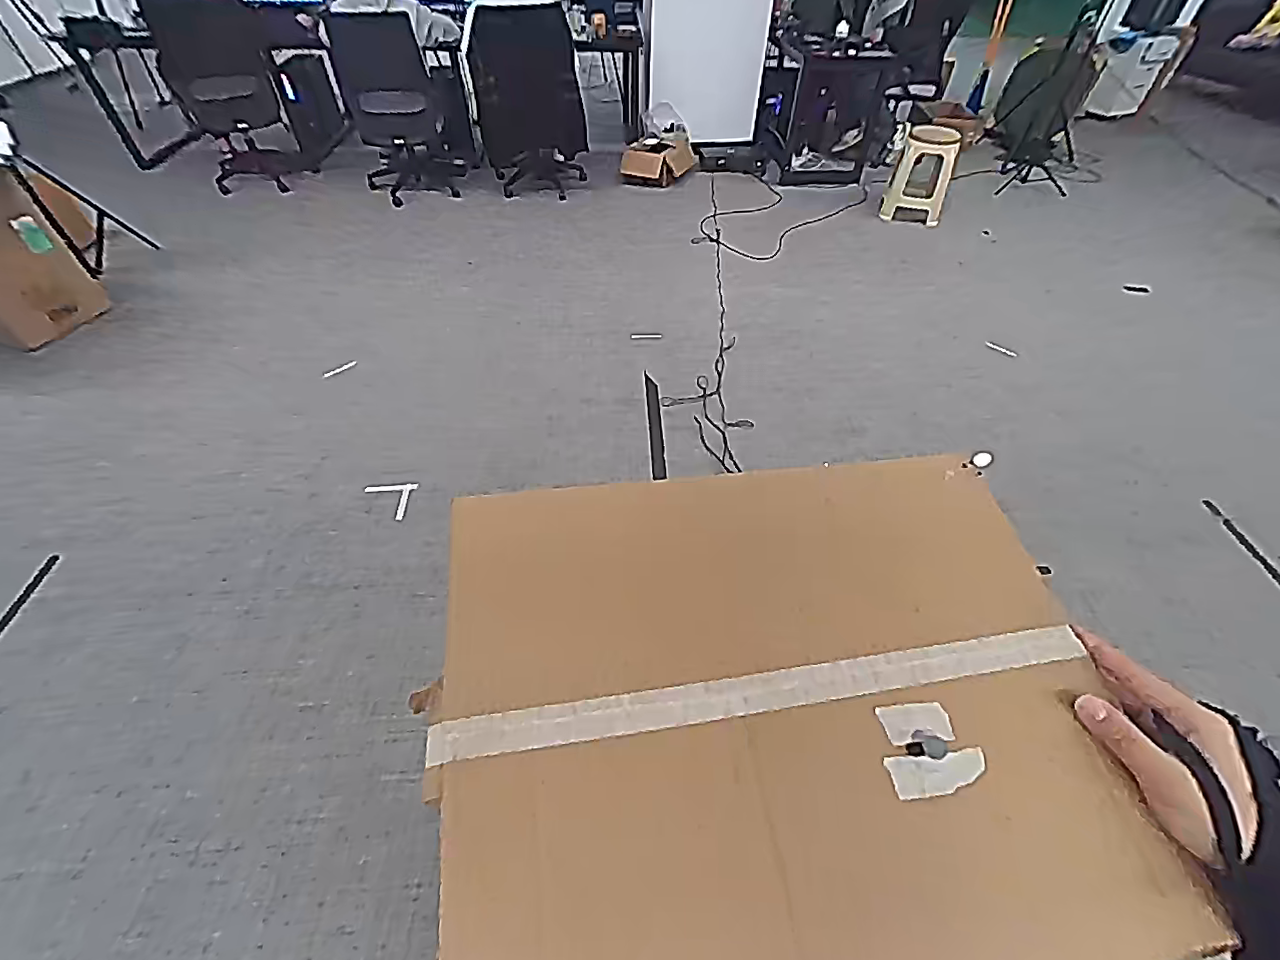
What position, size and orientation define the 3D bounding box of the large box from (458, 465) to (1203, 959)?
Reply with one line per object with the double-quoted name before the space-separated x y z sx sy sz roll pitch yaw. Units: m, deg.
"large box" 0.076 0.215 0.463 0.408 0.320 0.320 -5 58 -10
